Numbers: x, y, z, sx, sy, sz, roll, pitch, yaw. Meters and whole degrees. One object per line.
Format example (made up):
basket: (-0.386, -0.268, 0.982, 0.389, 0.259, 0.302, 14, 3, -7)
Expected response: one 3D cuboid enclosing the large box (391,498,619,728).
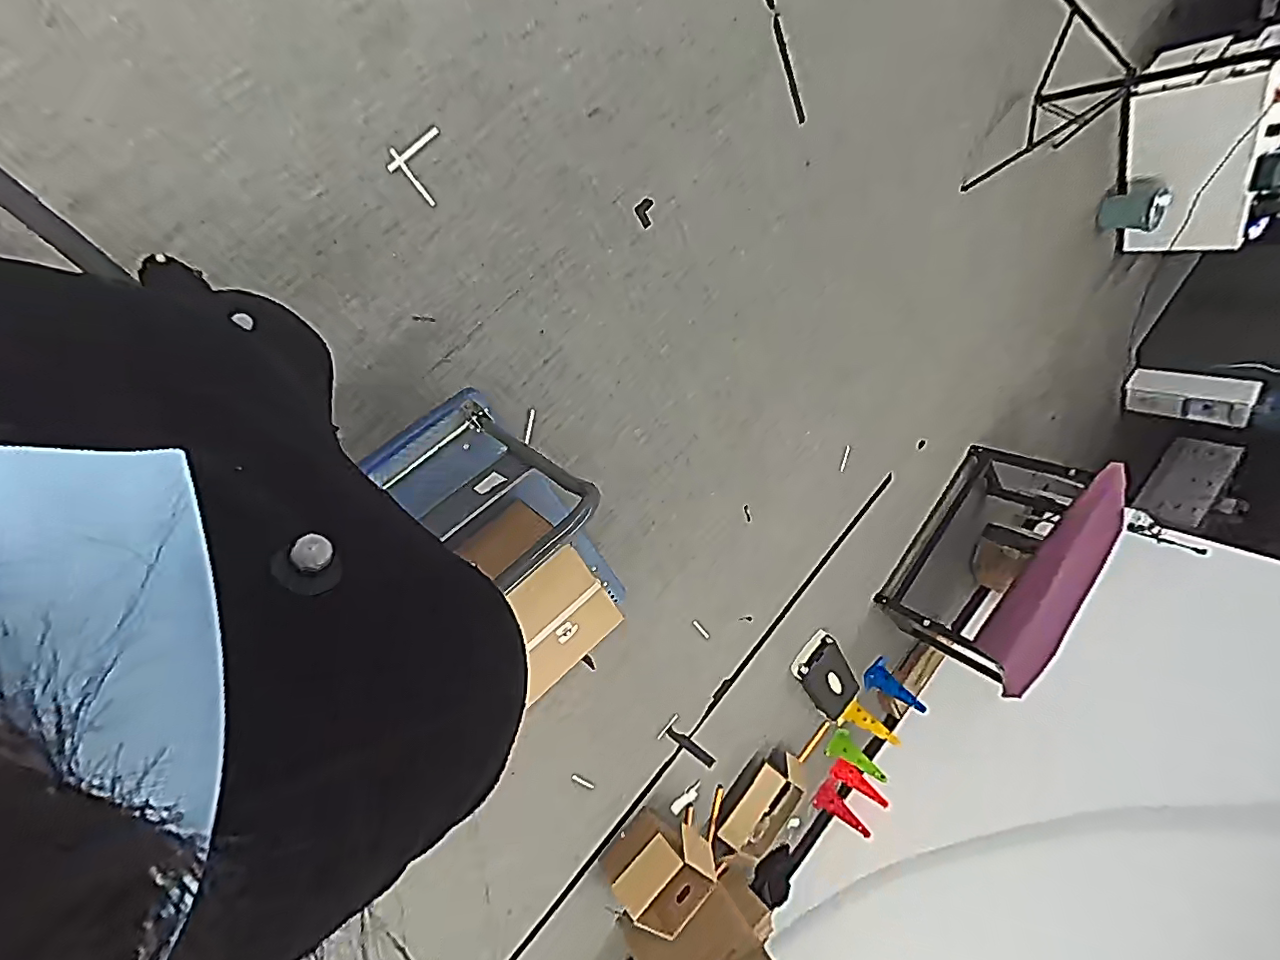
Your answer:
large box: (-0.340, 0.317, 1.373, 0.408, 0.320, 0.320, -41, 127, -18)
